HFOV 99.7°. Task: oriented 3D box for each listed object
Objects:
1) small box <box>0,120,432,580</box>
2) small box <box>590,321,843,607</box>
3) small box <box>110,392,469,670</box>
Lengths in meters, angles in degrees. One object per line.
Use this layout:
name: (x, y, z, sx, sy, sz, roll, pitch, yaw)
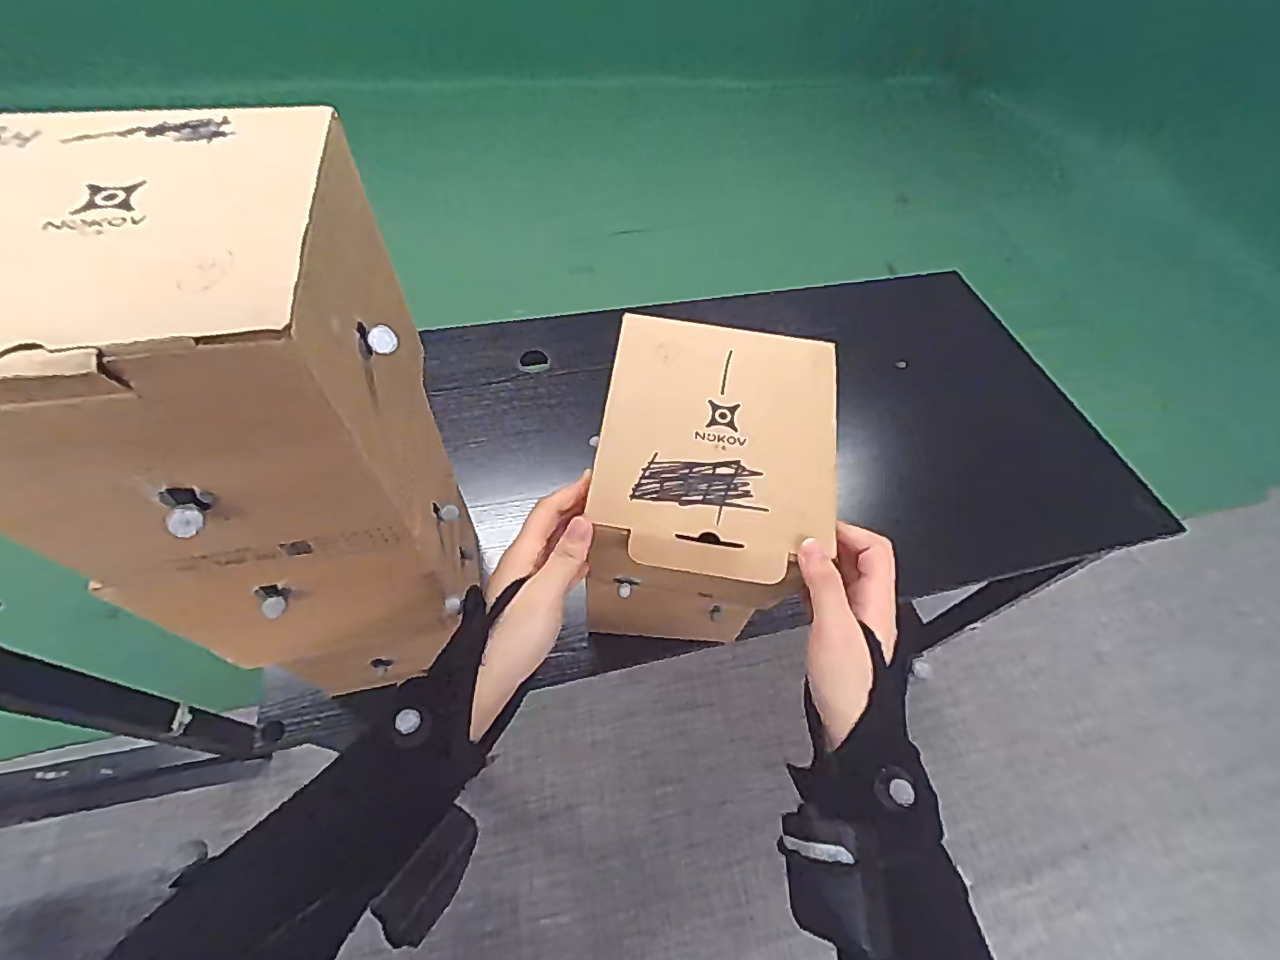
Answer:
small box: (-0.217, -0.058, 0.291, 0.168, 0.176, 0.179, -8, 58, -9)
small box: (0.058, -0.001, 0.453, 0.168, 0.176, 0.179, 9, 65, 1)
small box: (-0.237, 0.034, 0.426, 0.179, 0.176, 0.168, -10, 58, -10)
